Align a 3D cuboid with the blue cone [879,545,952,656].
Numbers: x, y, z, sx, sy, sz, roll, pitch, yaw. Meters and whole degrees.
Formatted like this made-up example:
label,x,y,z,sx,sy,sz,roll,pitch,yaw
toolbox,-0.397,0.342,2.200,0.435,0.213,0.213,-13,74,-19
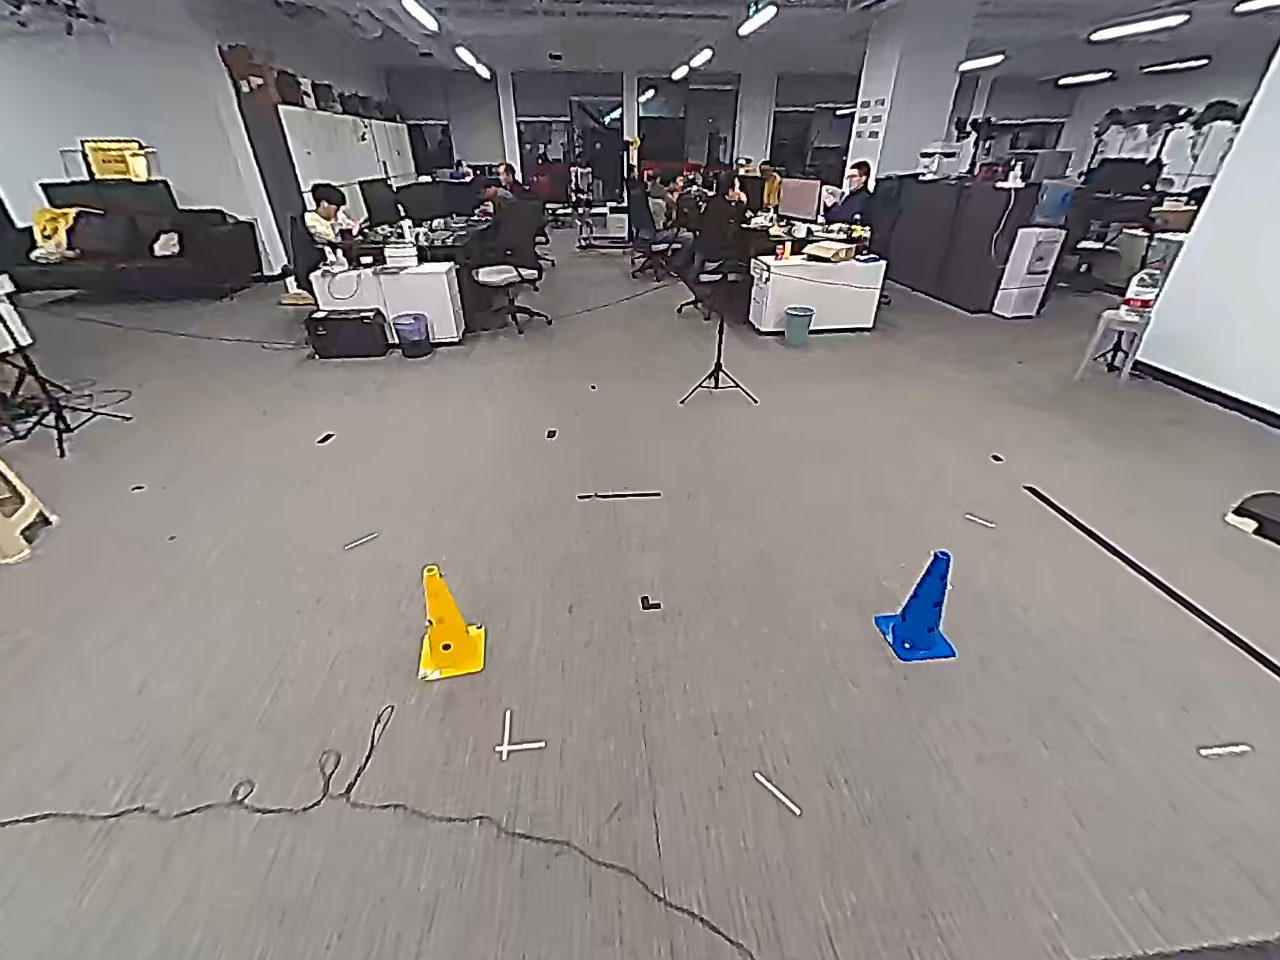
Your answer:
label,x,y,z,sx,sy,sz,roll,pitch,yaw
blue cone,0.928,0.375,1.740,0.193,0.380,0.192,-3,30,-4
